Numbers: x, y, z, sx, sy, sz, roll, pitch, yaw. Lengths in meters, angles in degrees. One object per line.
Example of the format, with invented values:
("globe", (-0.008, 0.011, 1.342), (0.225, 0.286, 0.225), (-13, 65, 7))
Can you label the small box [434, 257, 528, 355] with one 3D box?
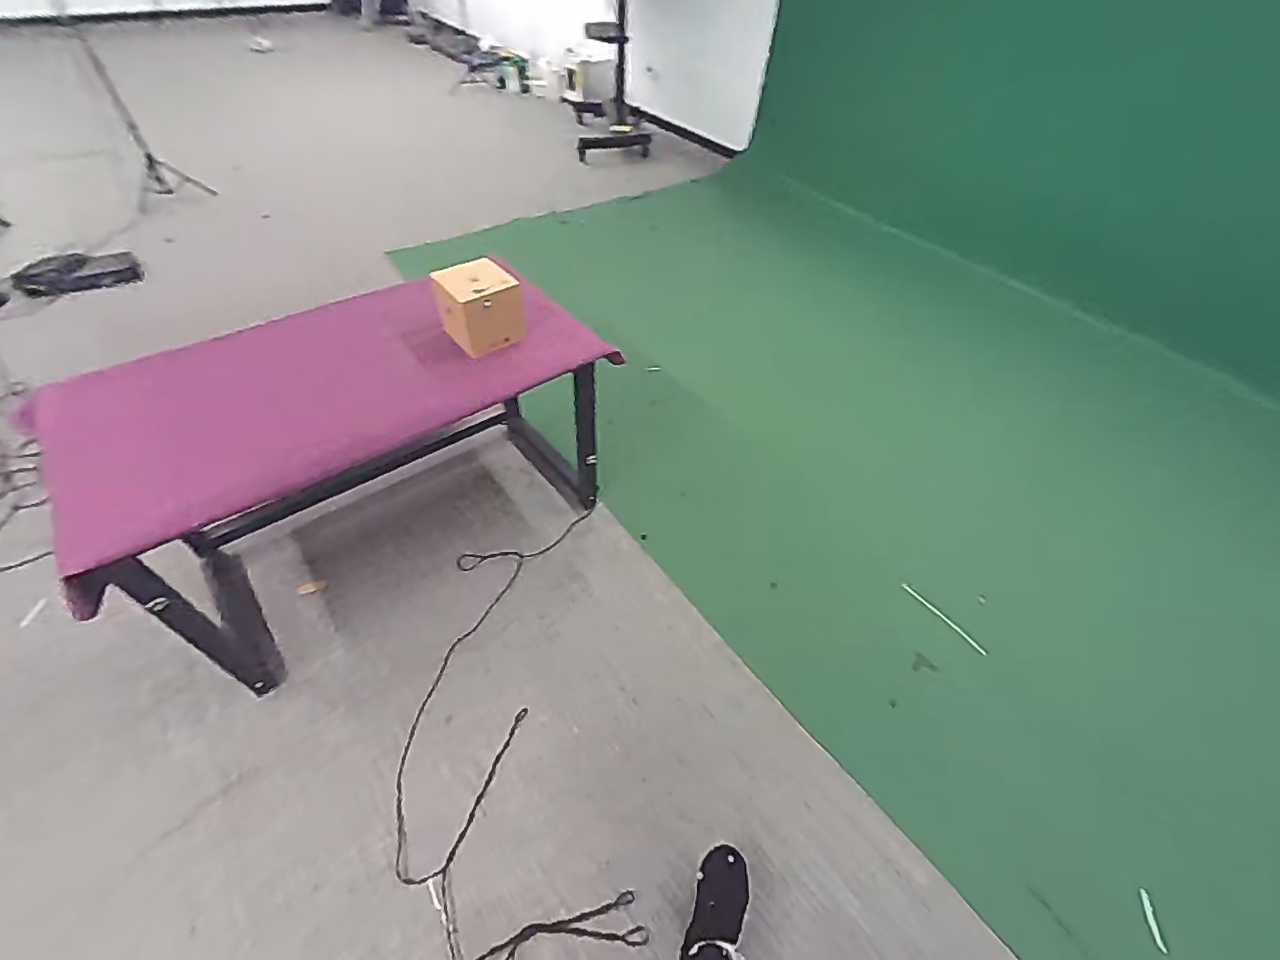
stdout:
("small box", (-0.421, -0.464, 1.445), (0.168, 0.176, 0.179), (-31, 56, -25))
